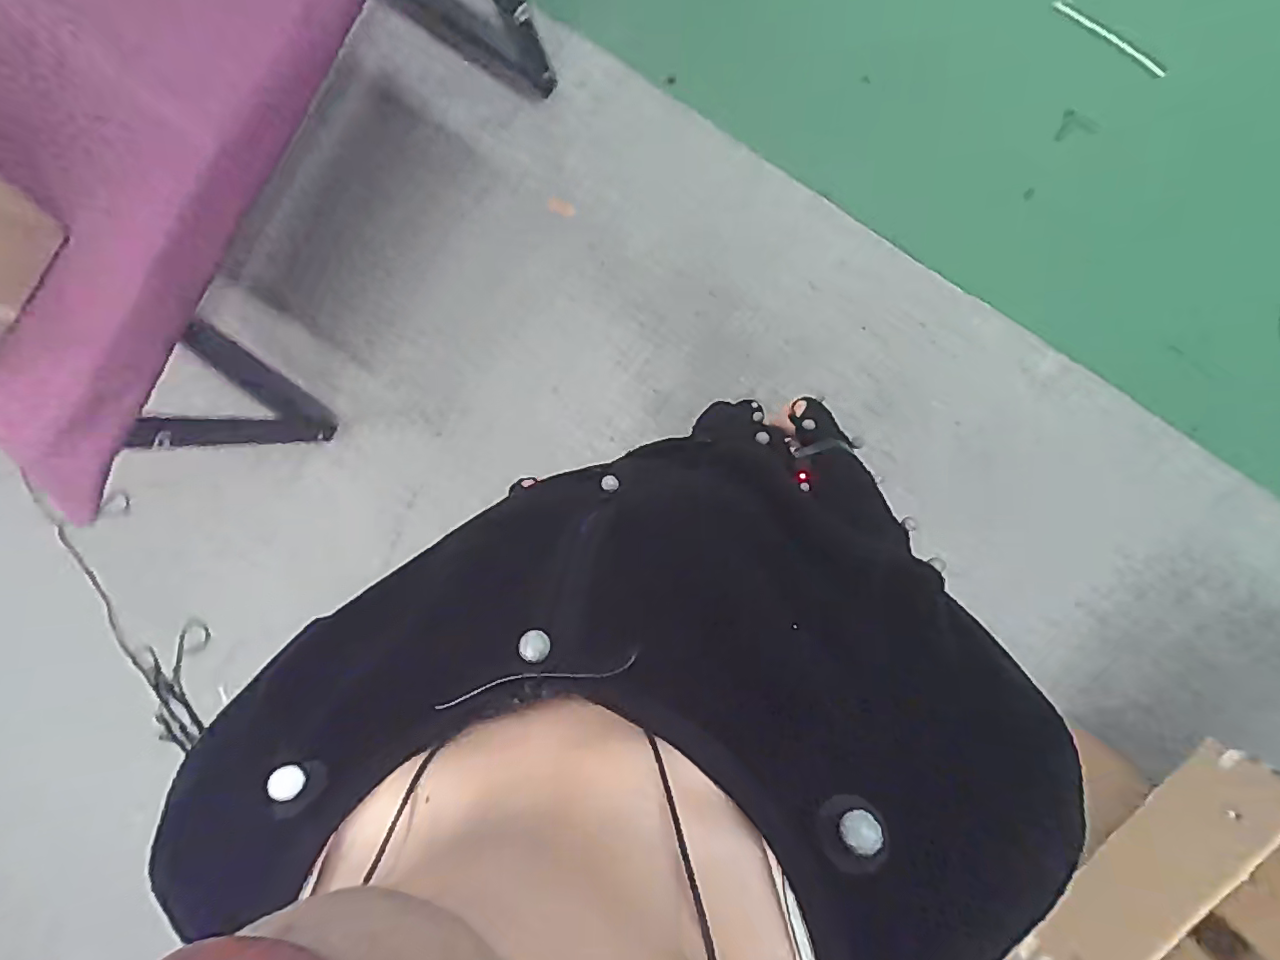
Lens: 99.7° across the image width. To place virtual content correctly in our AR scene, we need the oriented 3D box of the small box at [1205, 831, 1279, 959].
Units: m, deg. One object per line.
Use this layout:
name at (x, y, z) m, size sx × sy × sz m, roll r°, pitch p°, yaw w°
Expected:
small box at (1.188, 0.772, 0.950) m, size 0.179 × 0.176 × 0.168 m, roll 32°, pitch 98°, yaw 3°
